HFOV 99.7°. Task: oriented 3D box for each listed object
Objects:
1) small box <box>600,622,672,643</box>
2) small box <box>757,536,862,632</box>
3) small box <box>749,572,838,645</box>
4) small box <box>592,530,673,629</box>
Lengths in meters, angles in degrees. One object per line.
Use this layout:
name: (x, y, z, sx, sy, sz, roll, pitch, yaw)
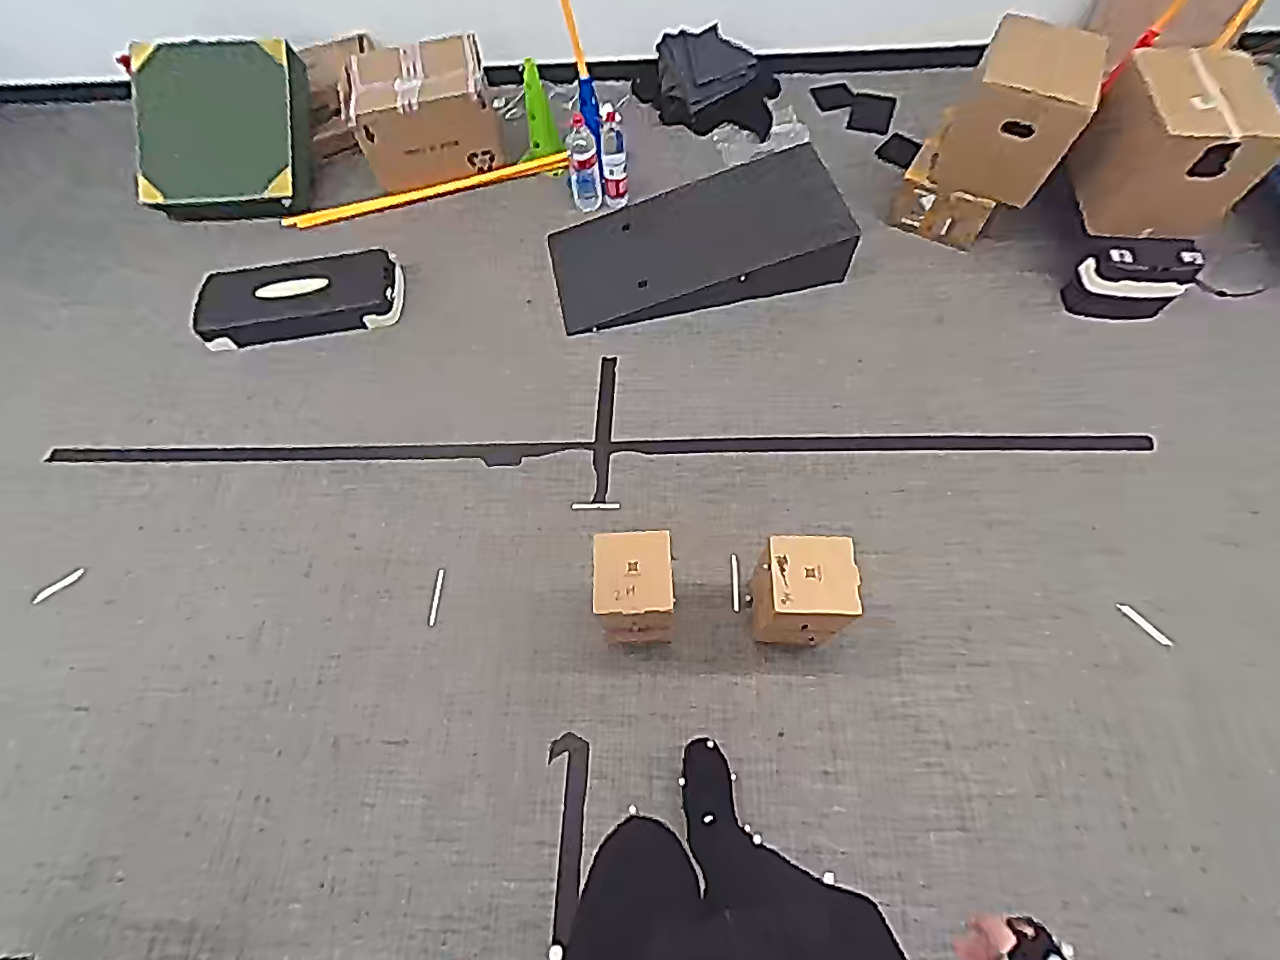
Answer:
small box: (-0.009, 0.302, 1.335, 0.168, 0.176, 0.179, -4, 63, 0)
small box: (0.358, 0.230, 1.174, 0.179, 0.176, 0.168, 2, 63, 3)
small box: (0.366, 0.303, 1.320, 0.179, 0.176, 0.168, 3, 64, 4)
small box: (-0.014, 0.223, 1.190, 0.168, 0.176, 0.179, -2, 64, 2)
